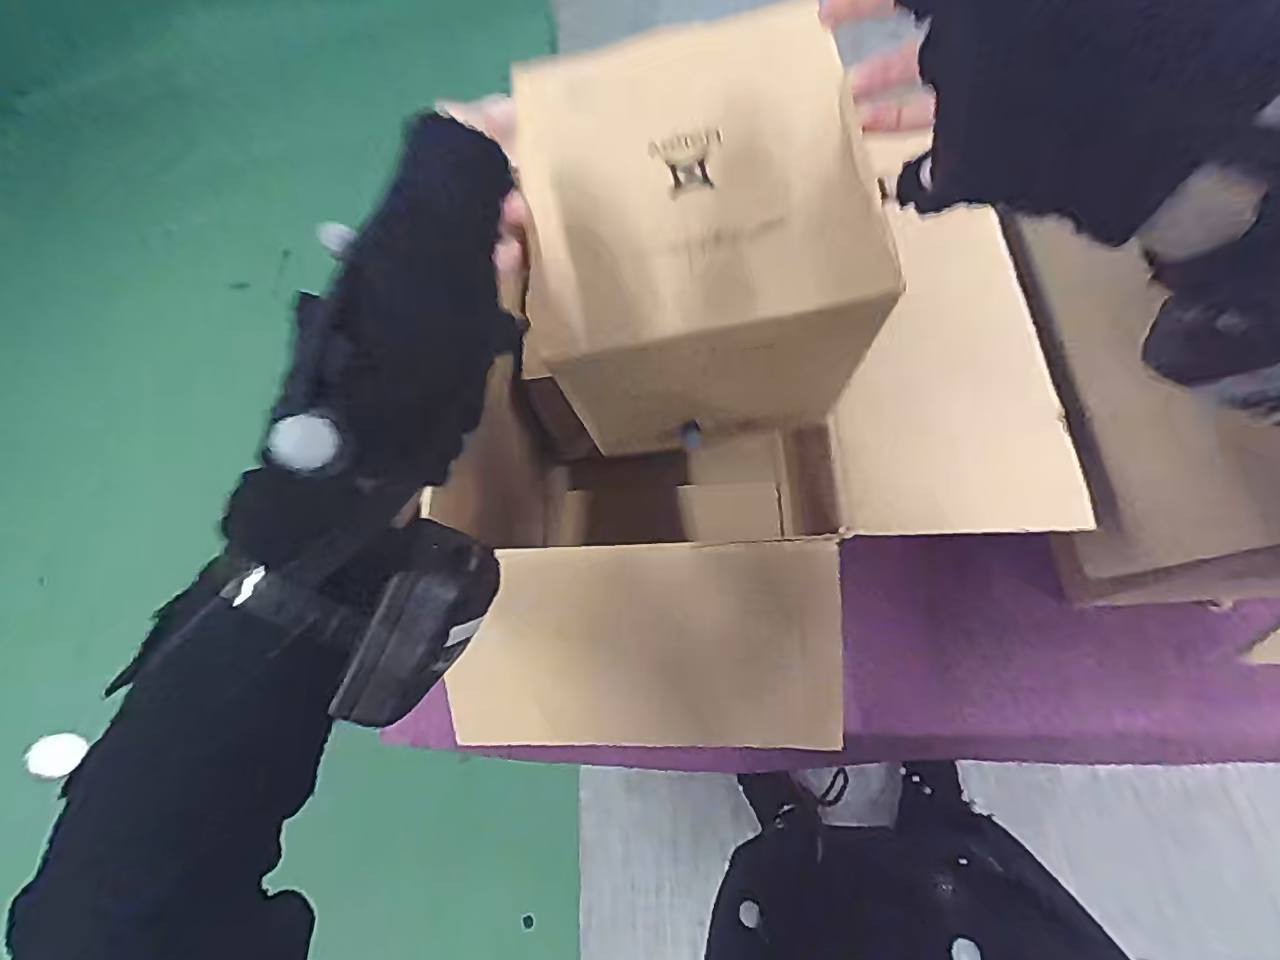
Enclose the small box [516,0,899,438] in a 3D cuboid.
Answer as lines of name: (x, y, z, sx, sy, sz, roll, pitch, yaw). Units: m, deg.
small box: (0.032, -0.142, 0.340, 0.168, 0.176, 0.179, -9, 77, 5)
